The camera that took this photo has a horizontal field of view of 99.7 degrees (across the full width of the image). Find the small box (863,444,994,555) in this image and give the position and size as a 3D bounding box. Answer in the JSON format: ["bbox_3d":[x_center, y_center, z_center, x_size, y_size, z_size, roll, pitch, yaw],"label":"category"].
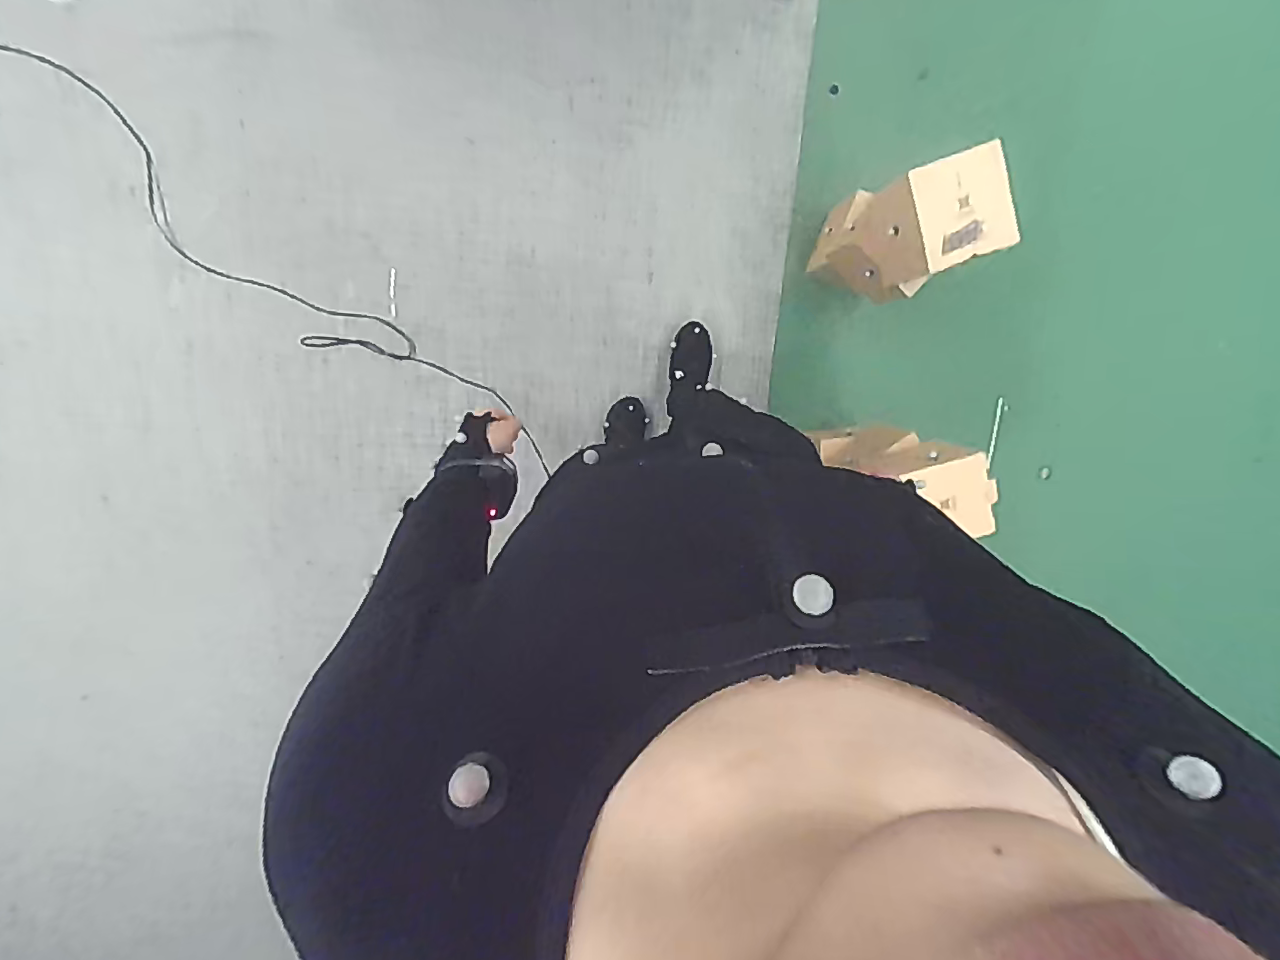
[{"bbox_3d":[0.576,0.033,1.106,0.179,0.176,0.168,-16,102,0],"label":"small box"}]

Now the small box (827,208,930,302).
[{"bbox_3d":[0.537,-0.503,1.161,0.179,0.176,0.168,40,98,-11],"label":"small box"}]

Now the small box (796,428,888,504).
[{"bbox_3d":[0.527,-0.042,1.423,0.179,0.176,0.168,-6,102,-3],"label":"small box"}]

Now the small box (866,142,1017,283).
[{"bbox_3d":[0.546,-0.478,0.998,0.168,0.176,0.179,-19,101,2],"label":"small box"}]

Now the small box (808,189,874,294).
[{"bbox_3d":[0.537,-0.567,1.313,0.179,0.176,0.168,20,101,-7],"label":"small box"}]
